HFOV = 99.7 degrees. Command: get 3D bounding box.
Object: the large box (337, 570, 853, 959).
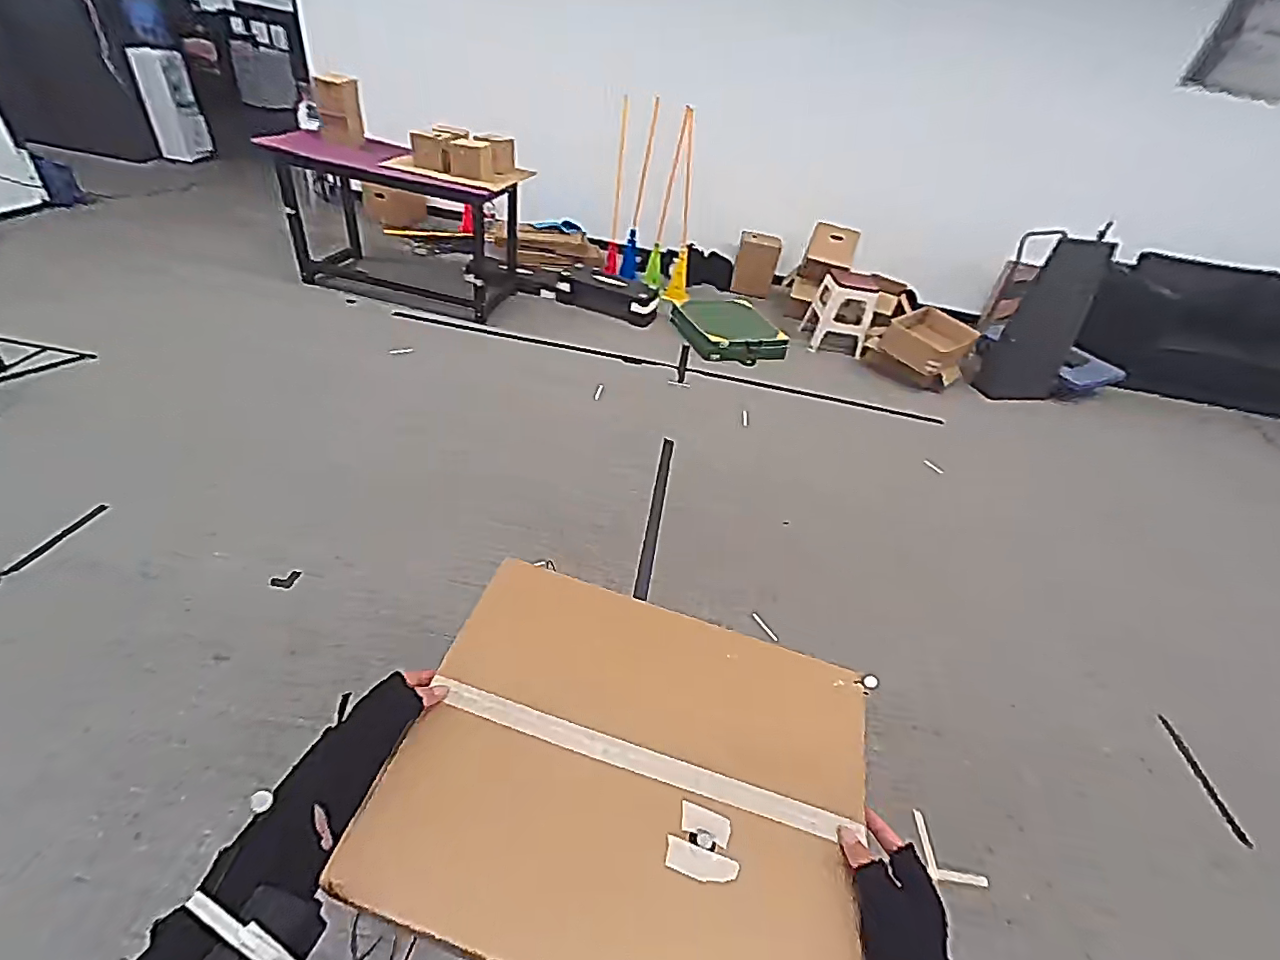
[{"bbox_3d":[-0.027,0.359,0.596,0.408,0.320,0.320,18,46,4],"label":"large box"}]
